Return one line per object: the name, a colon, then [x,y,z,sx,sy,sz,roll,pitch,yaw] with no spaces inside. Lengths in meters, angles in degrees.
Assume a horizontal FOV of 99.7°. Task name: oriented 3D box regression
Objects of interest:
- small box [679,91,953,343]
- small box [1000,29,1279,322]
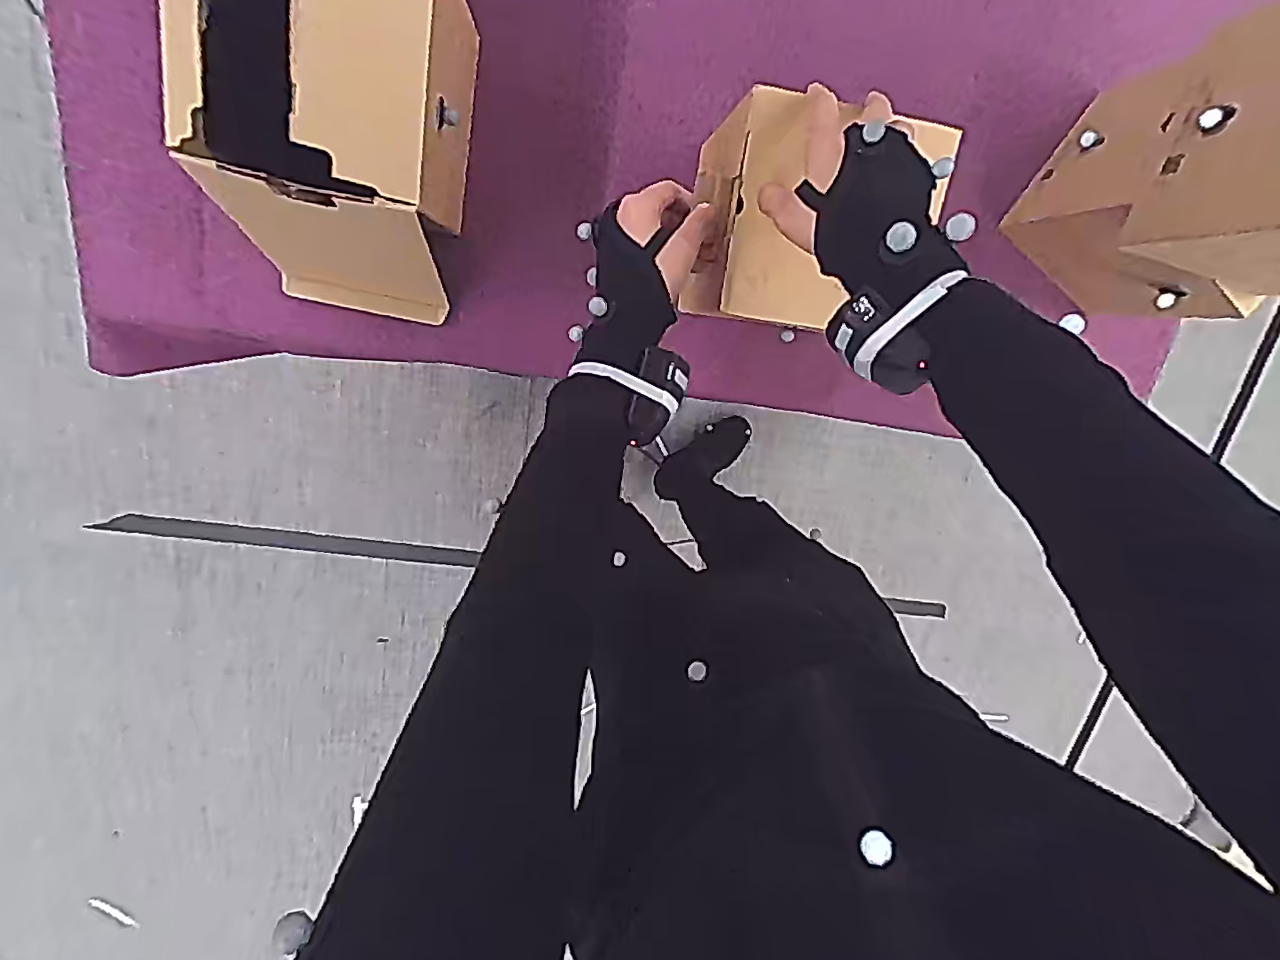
small box: [0.143,-0.229,0.514,0.179,0.176,0.168,5,108,-10]
small box: [0.526,-0.282,0.544,0.179,0.176,0.168,32,101,-15]
